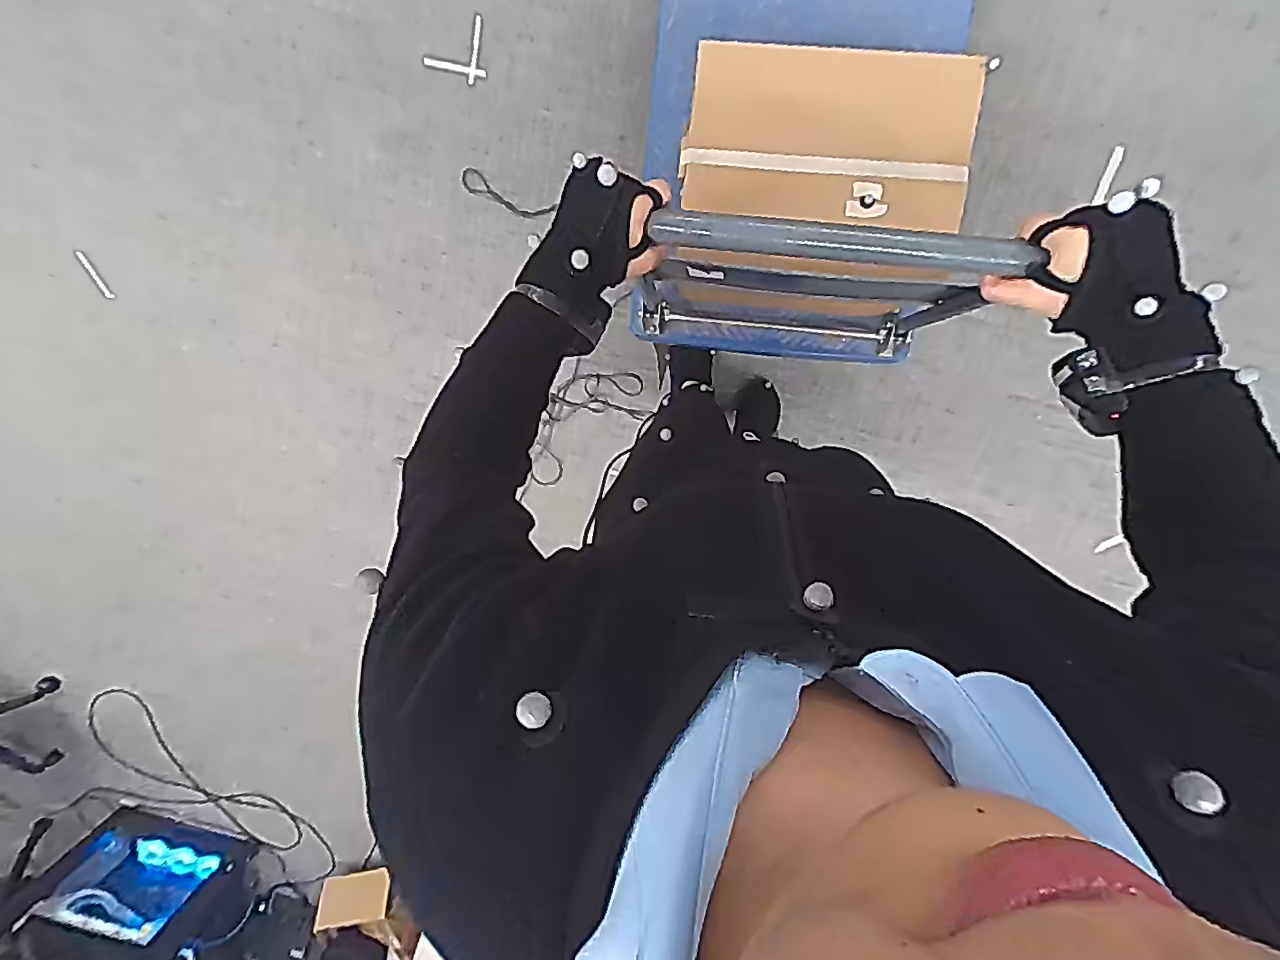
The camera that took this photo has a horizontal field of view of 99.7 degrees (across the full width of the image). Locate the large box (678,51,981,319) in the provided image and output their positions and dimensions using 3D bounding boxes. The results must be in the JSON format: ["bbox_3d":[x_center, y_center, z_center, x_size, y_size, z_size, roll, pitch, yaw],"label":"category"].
[{"bbox_3d":[0.278,-0.471,0.937,0.408,0.320,0.320,7,100,3],"label":"large box"}]
